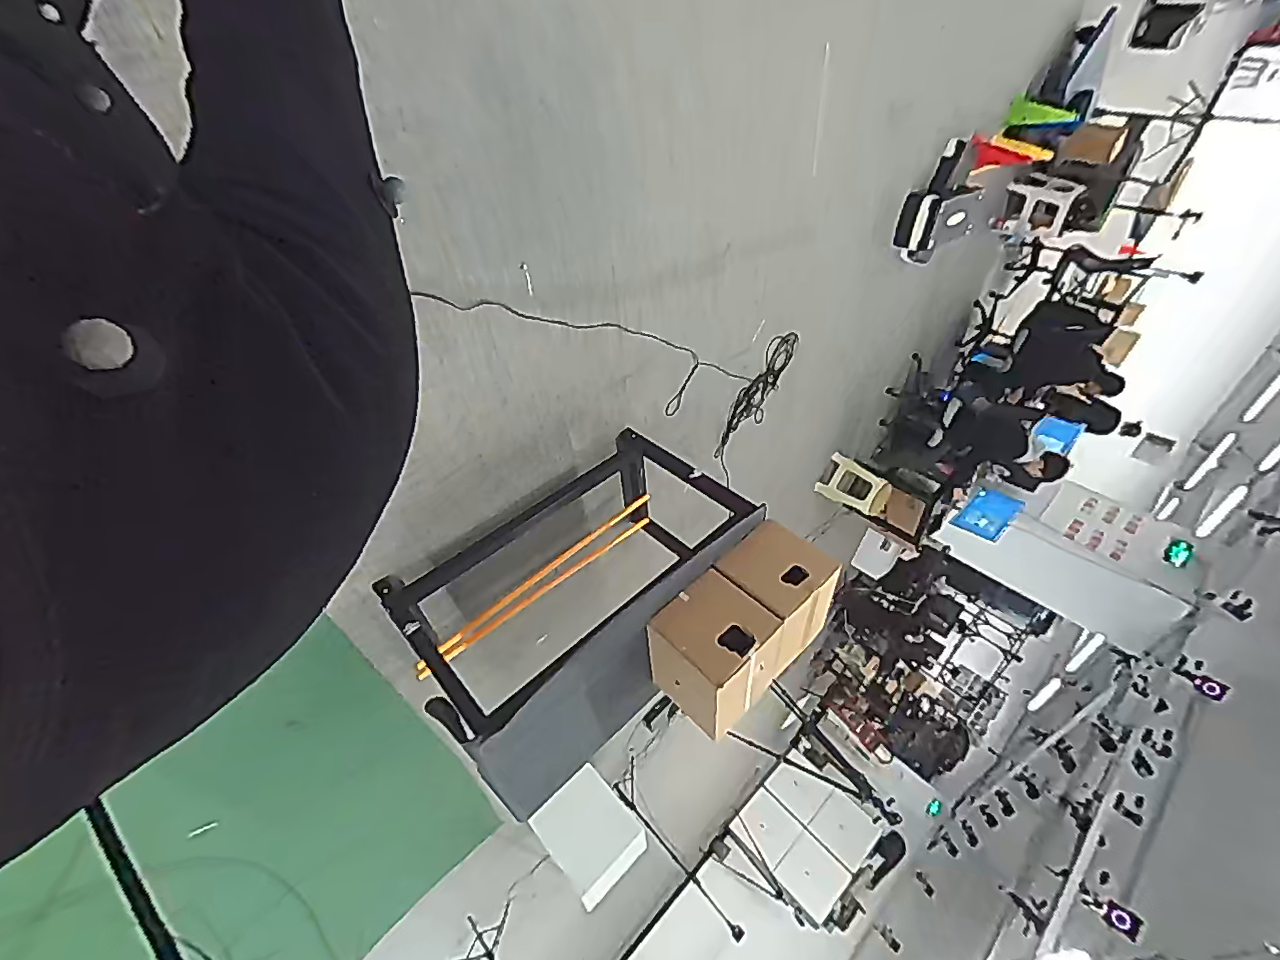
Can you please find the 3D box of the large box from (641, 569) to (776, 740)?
[{"bbox_3d":[0.228,0.585,1.823,0.320,0.320,0.408,-36,140,-28],"label":"large box"}]
